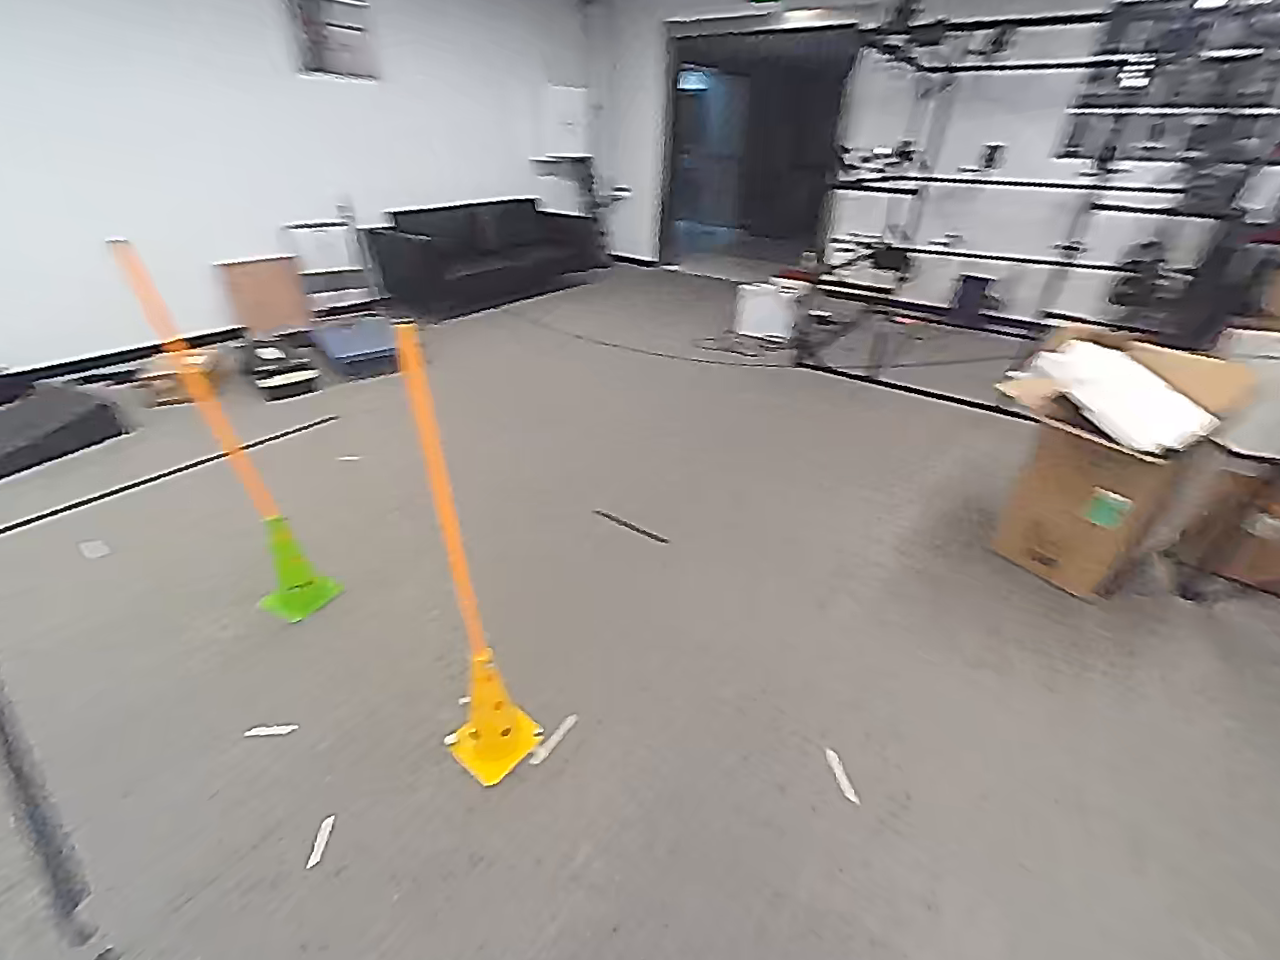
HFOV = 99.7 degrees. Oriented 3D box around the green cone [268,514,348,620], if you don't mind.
[{"bbox_3d":[-1.196,0.273,1.872,0.202,0.368,0.200,17,35,20],"label":"green cone"}]
